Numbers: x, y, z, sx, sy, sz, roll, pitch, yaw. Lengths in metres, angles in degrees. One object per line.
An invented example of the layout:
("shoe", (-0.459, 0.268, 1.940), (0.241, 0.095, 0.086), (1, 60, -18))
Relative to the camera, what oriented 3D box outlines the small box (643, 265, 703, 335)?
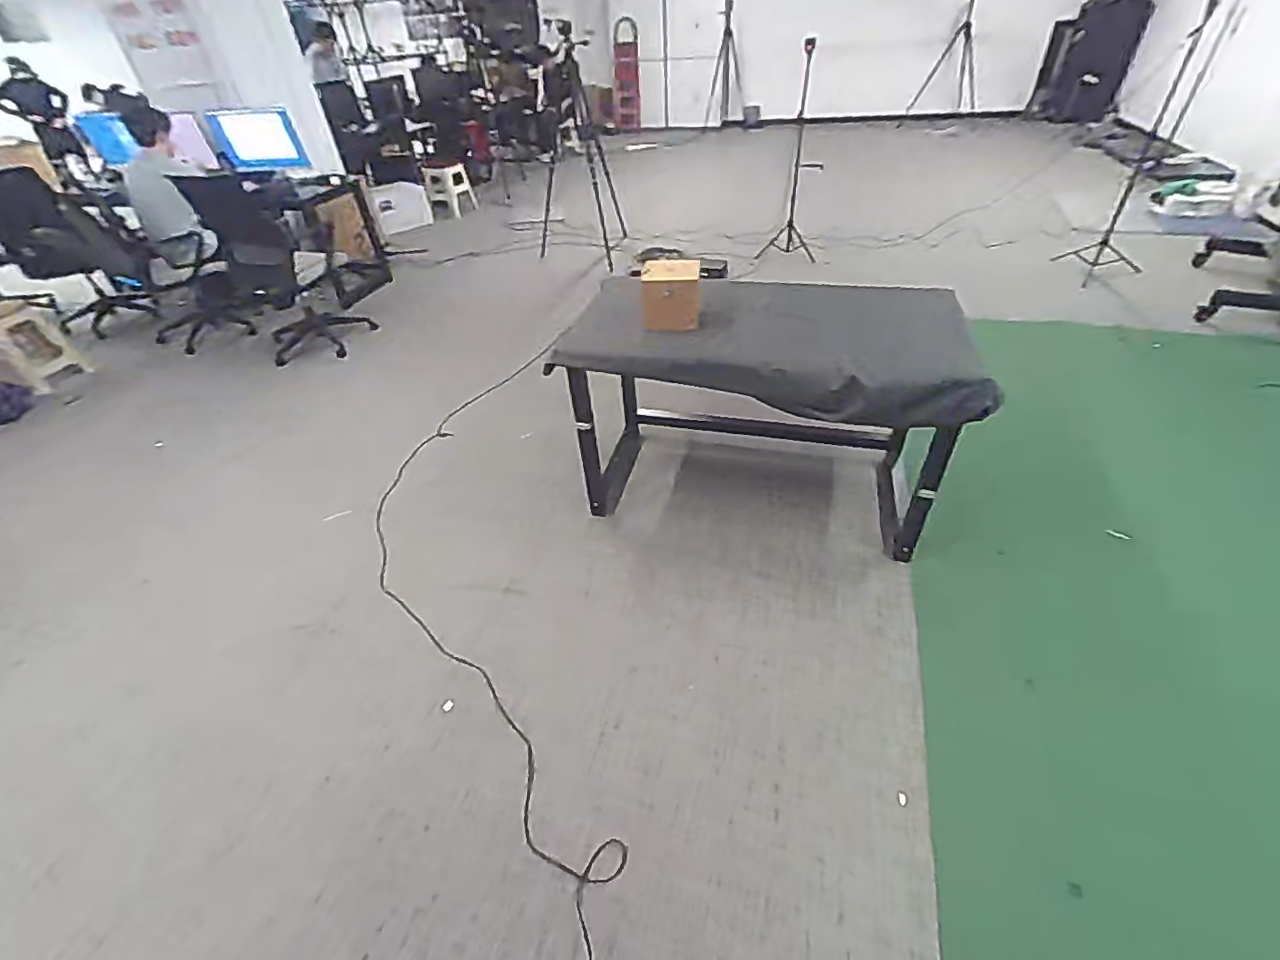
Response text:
("small box", (0.109, -0.575, 1.731), (0.179, 0.176, 0.168), (2, 42, 7))
